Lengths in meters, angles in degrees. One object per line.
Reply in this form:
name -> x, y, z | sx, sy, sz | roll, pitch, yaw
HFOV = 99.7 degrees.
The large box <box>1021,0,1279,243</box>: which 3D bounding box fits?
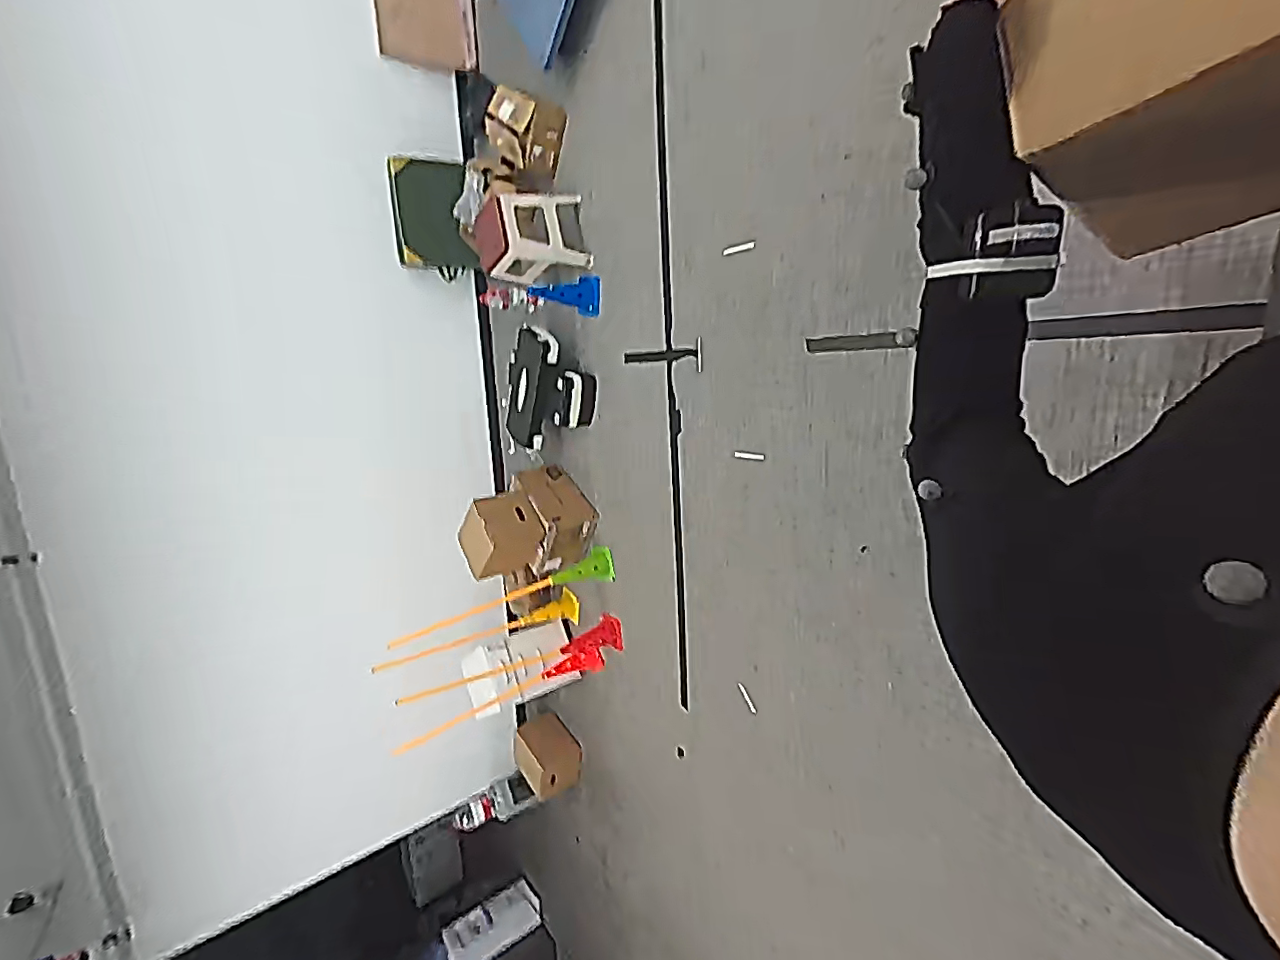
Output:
large box -> 0.498, -0.406, 0.319 | 0.408, 0.320, 0.320 | -8, 85, 51
